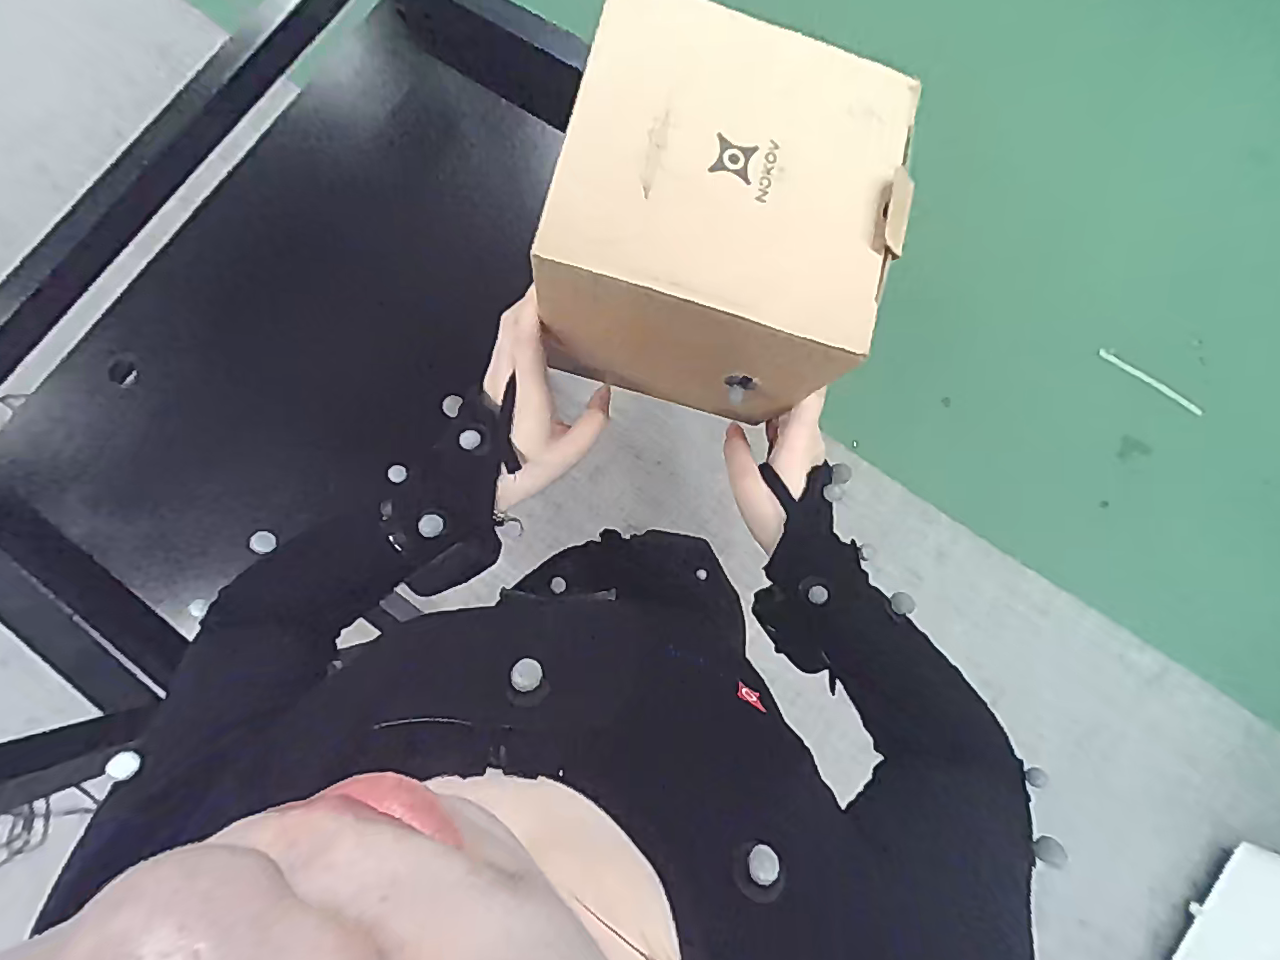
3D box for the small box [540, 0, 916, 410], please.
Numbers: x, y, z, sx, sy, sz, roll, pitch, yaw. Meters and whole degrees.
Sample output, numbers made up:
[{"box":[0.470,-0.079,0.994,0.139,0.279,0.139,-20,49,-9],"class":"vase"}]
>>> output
[{"box":[0.042,-0.157,0.360,0.179,0.176,0.168,15,80,-5],"class":"small box"}]
